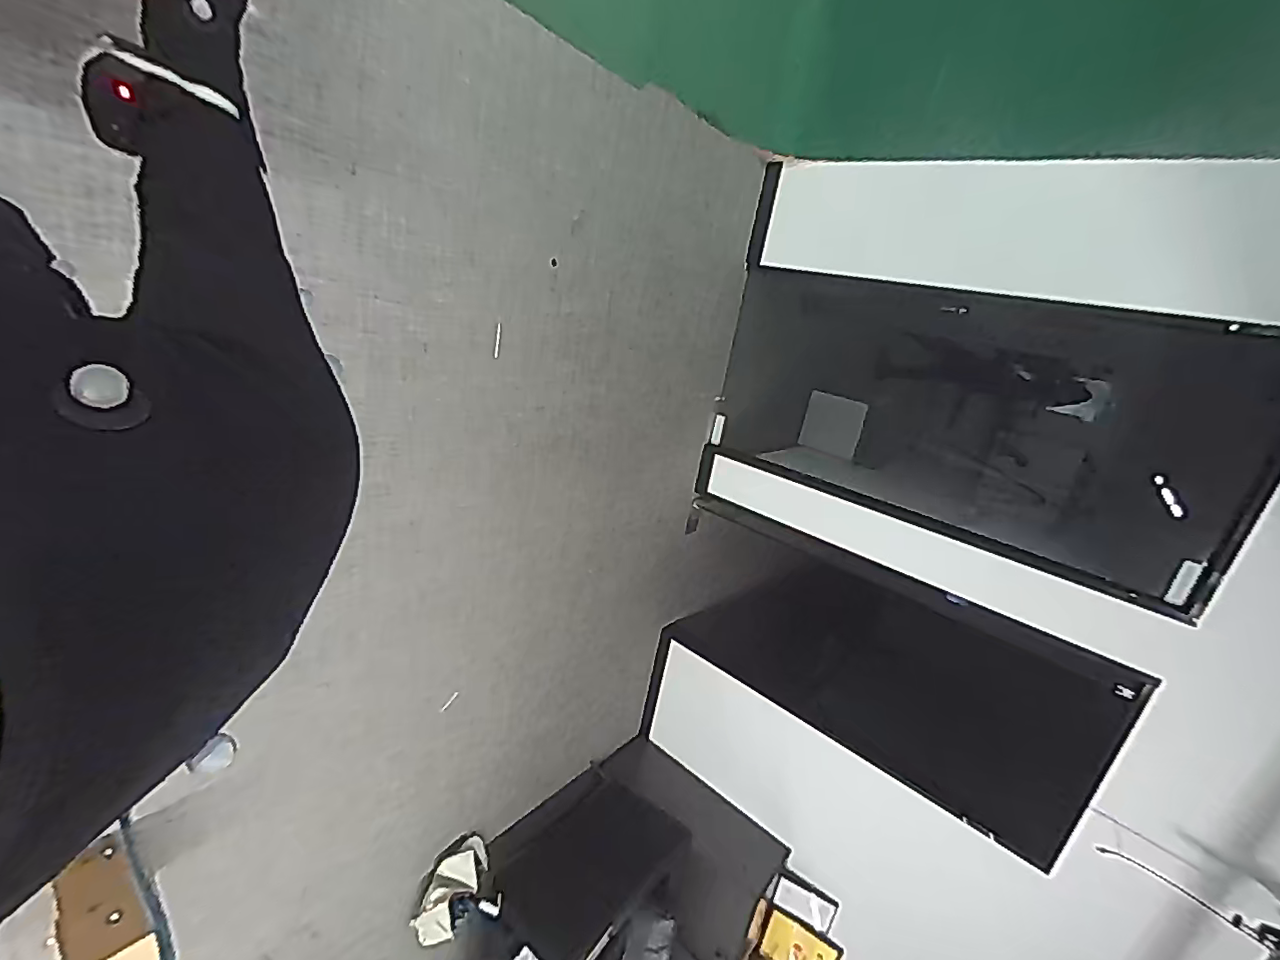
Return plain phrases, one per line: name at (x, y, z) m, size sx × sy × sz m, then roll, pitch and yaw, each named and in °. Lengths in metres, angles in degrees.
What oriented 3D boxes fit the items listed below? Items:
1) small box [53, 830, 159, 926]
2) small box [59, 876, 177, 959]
small box at (-1.325, 1.028, 1.344) m, size 0.168 × 0.176 × 0.179 m, roll -8°, pitch 115°, yaw -53°
small box at (-1.198, 1.065, 1.244) m, size 0.168 × 0.176 × 0.179 m, roll -12°, pitch 119°, yaw -51°
